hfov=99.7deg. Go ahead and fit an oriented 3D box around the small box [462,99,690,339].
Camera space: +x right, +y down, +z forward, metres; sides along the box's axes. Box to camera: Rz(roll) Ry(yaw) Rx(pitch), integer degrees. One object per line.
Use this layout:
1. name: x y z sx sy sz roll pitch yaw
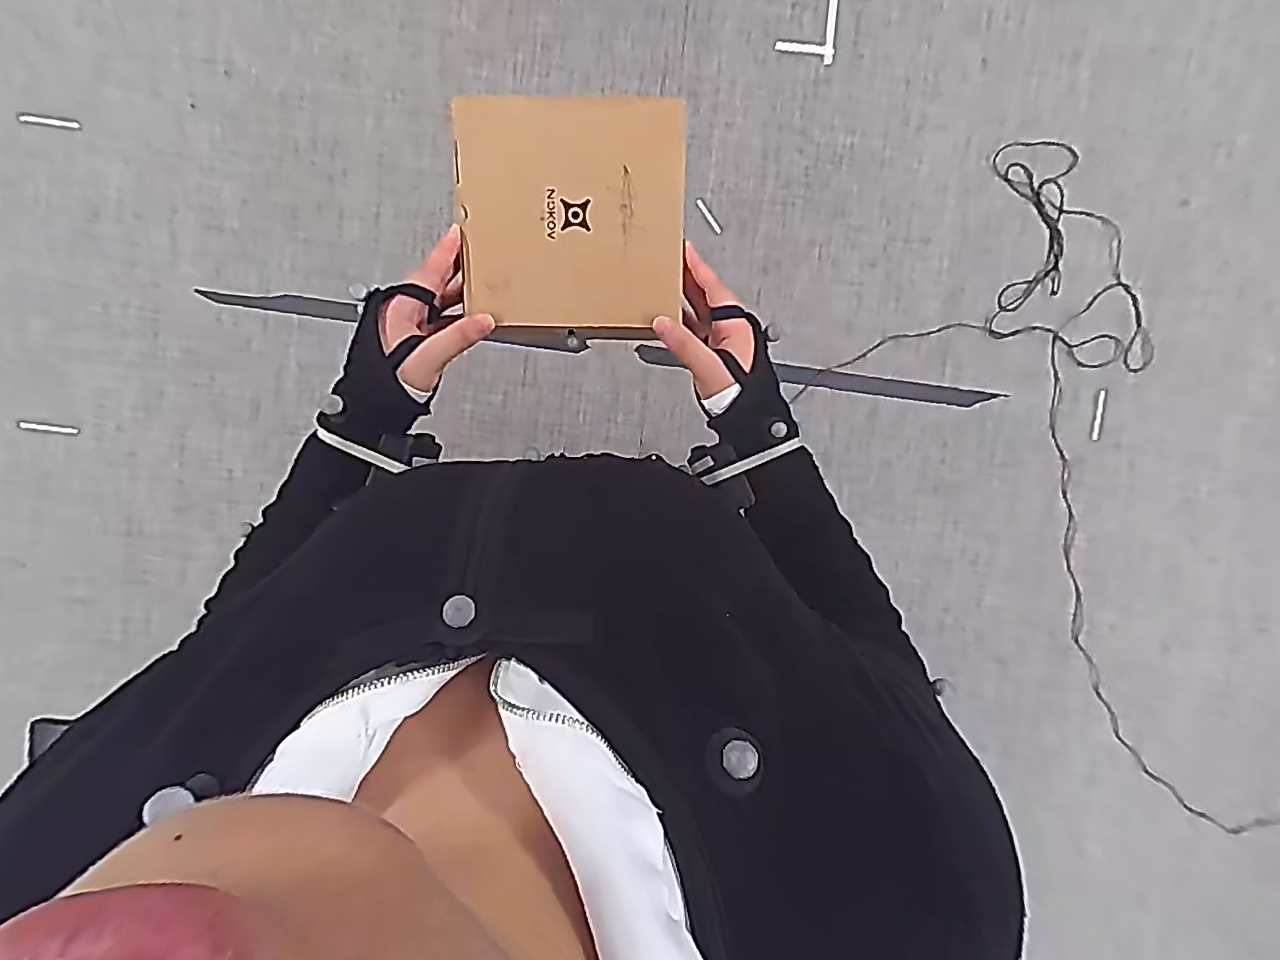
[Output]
1. small box: -0.050 -0.221 0.503 0.179 0.176 0.168 0 101 -1
